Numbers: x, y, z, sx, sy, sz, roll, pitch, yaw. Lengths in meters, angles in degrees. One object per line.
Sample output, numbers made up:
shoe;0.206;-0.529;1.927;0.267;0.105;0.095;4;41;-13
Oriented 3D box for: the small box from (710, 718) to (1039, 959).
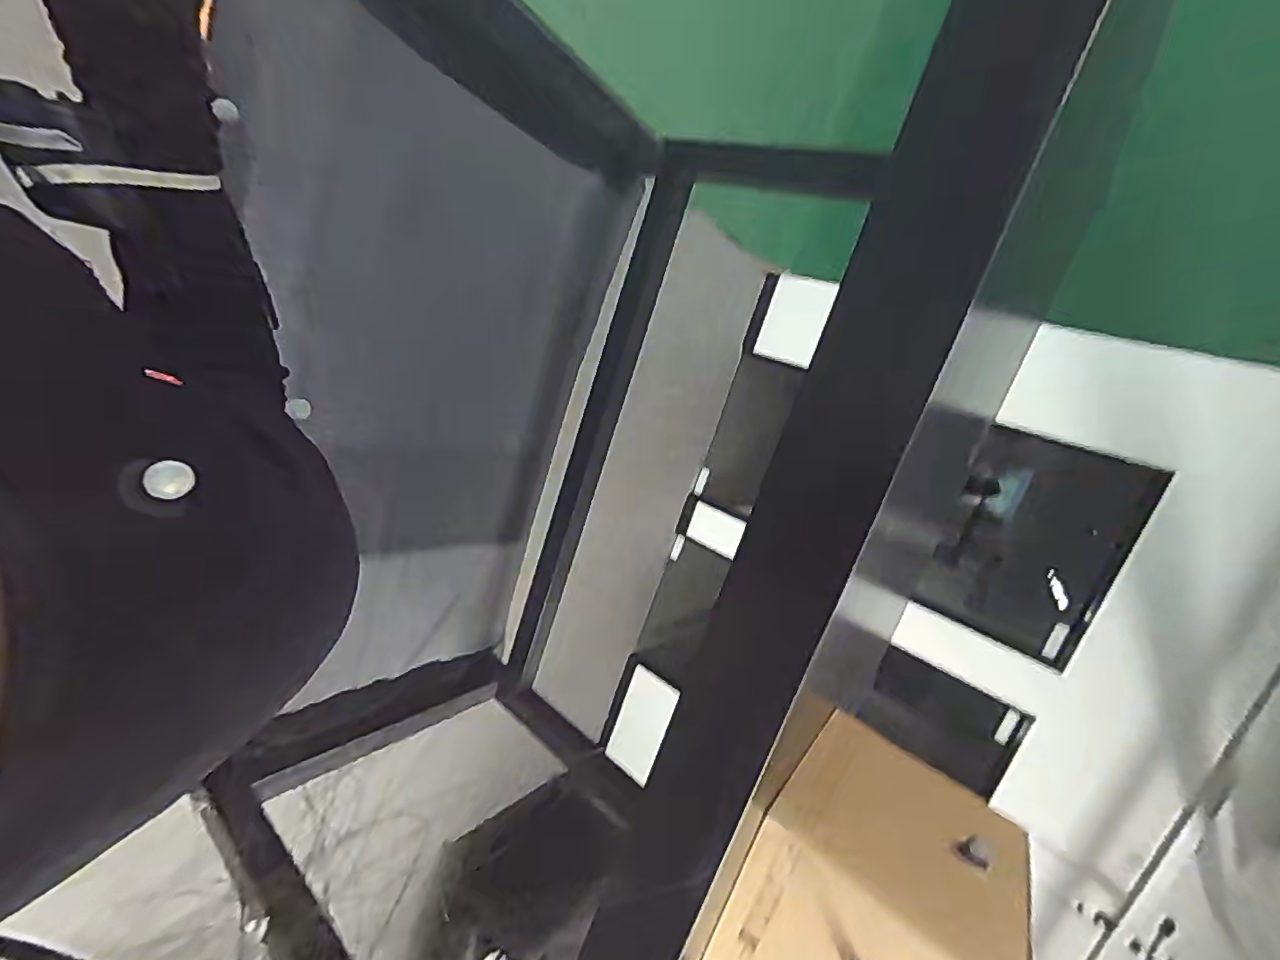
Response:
small box;0.178;0.330;0.423;0.179;0.176;0.168;-8;119;-55
